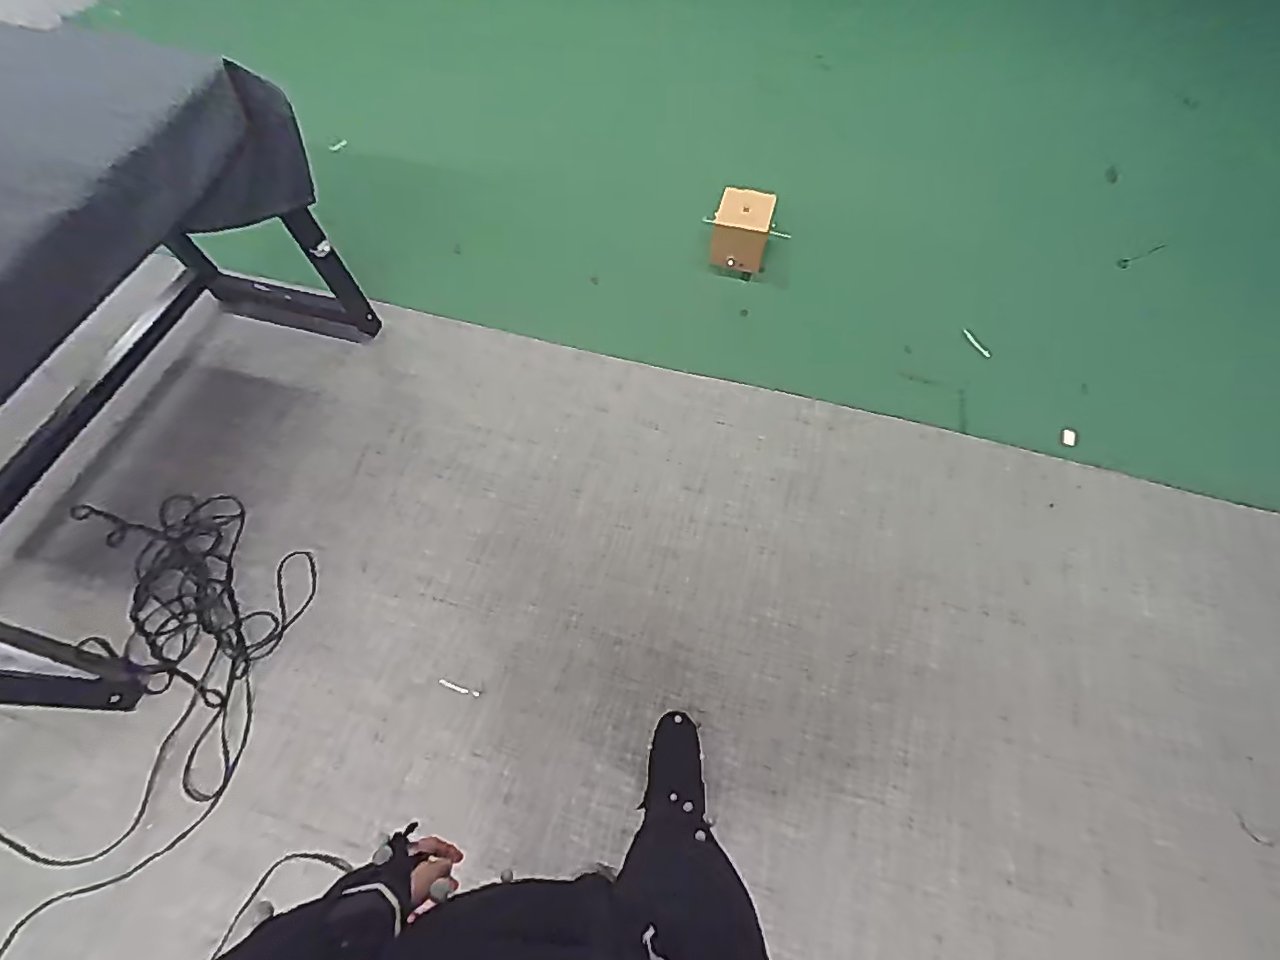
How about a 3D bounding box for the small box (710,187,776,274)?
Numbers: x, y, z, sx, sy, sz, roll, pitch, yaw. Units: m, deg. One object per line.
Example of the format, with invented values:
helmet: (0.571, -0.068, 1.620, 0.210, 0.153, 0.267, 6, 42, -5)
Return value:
small box: (0.328, -0.803, 1.744, 0.168, 0.176, 0.179, 14, 66, 8)
